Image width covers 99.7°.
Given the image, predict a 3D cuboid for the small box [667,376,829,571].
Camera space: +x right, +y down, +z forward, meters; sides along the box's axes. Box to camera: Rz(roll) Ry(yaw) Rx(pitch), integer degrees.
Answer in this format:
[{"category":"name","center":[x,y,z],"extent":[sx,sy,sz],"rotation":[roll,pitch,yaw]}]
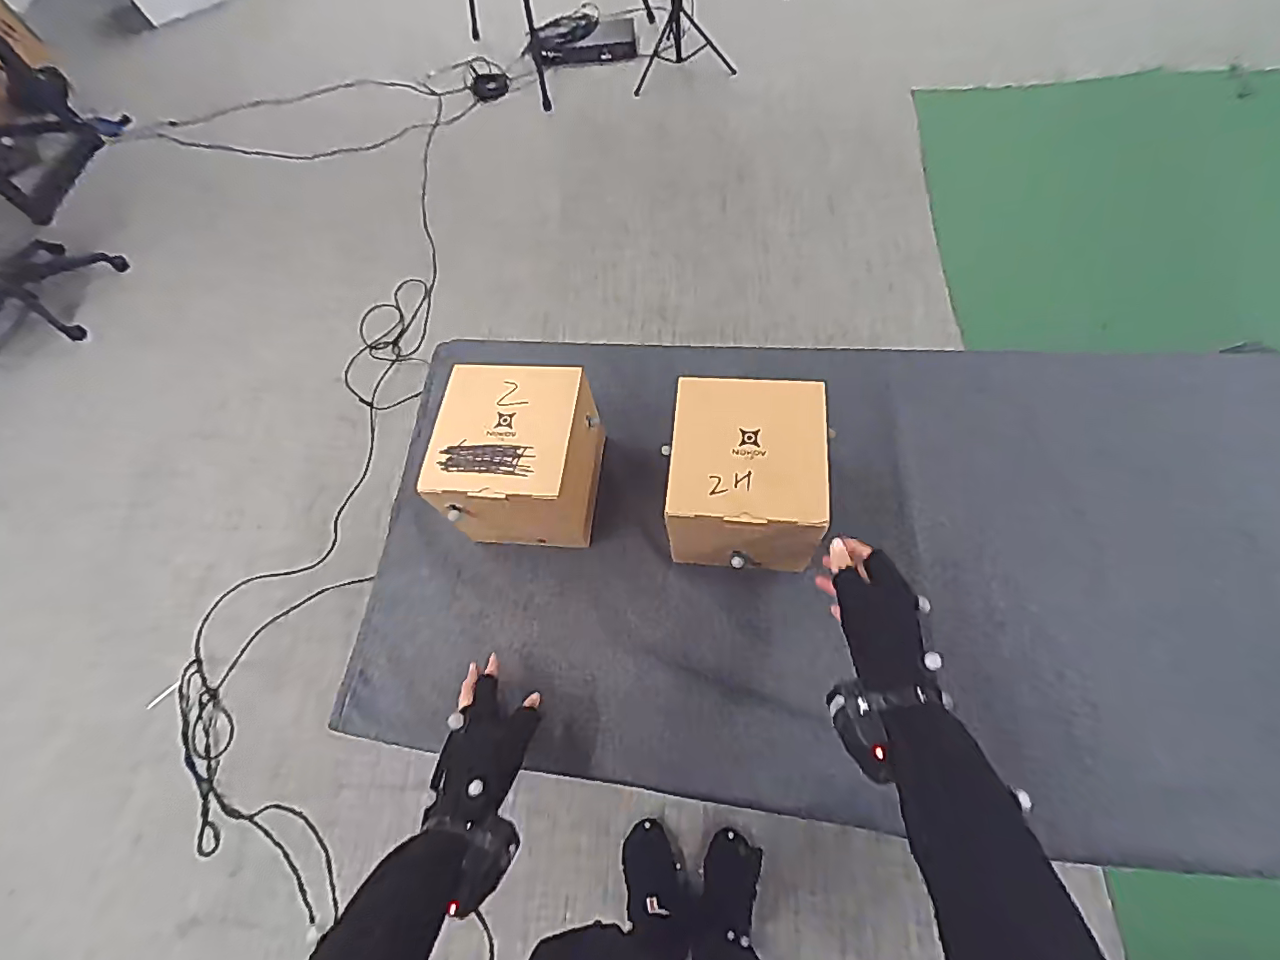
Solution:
[{"category":"small box","center":[0.126,-0.003,0.655],"extent":[0.168,0.176,0.179],"rotation":[4,66,8]}]
